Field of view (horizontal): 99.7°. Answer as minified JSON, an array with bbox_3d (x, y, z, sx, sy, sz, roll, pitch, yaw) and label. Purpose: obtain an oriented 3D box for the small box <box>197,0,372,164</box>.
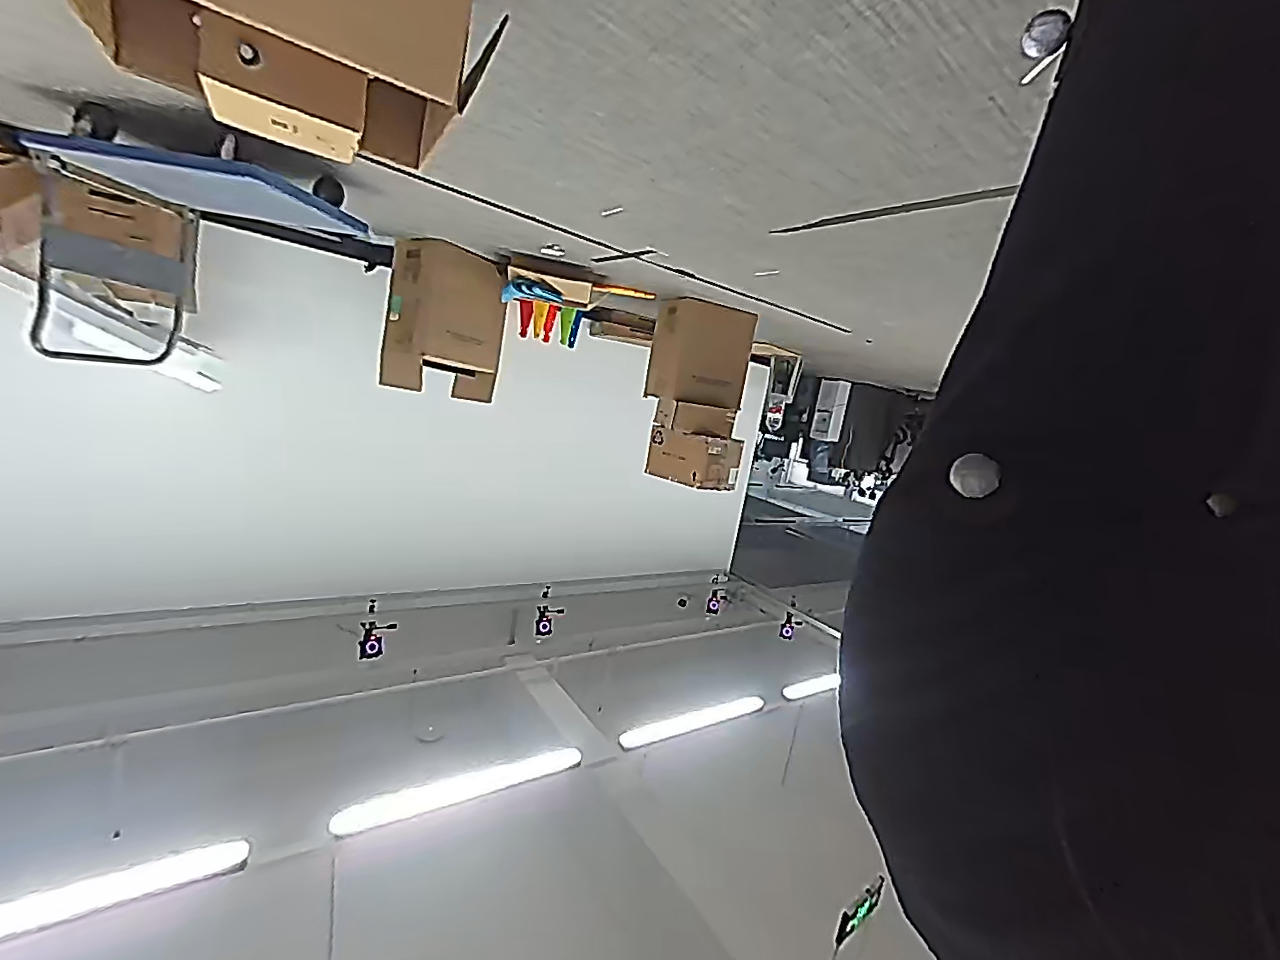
[{"bbox_3d":[-0.478,-0.571,0.735,0.179,0.176,0.168,3,-169,-34],"label":"small box"}]
